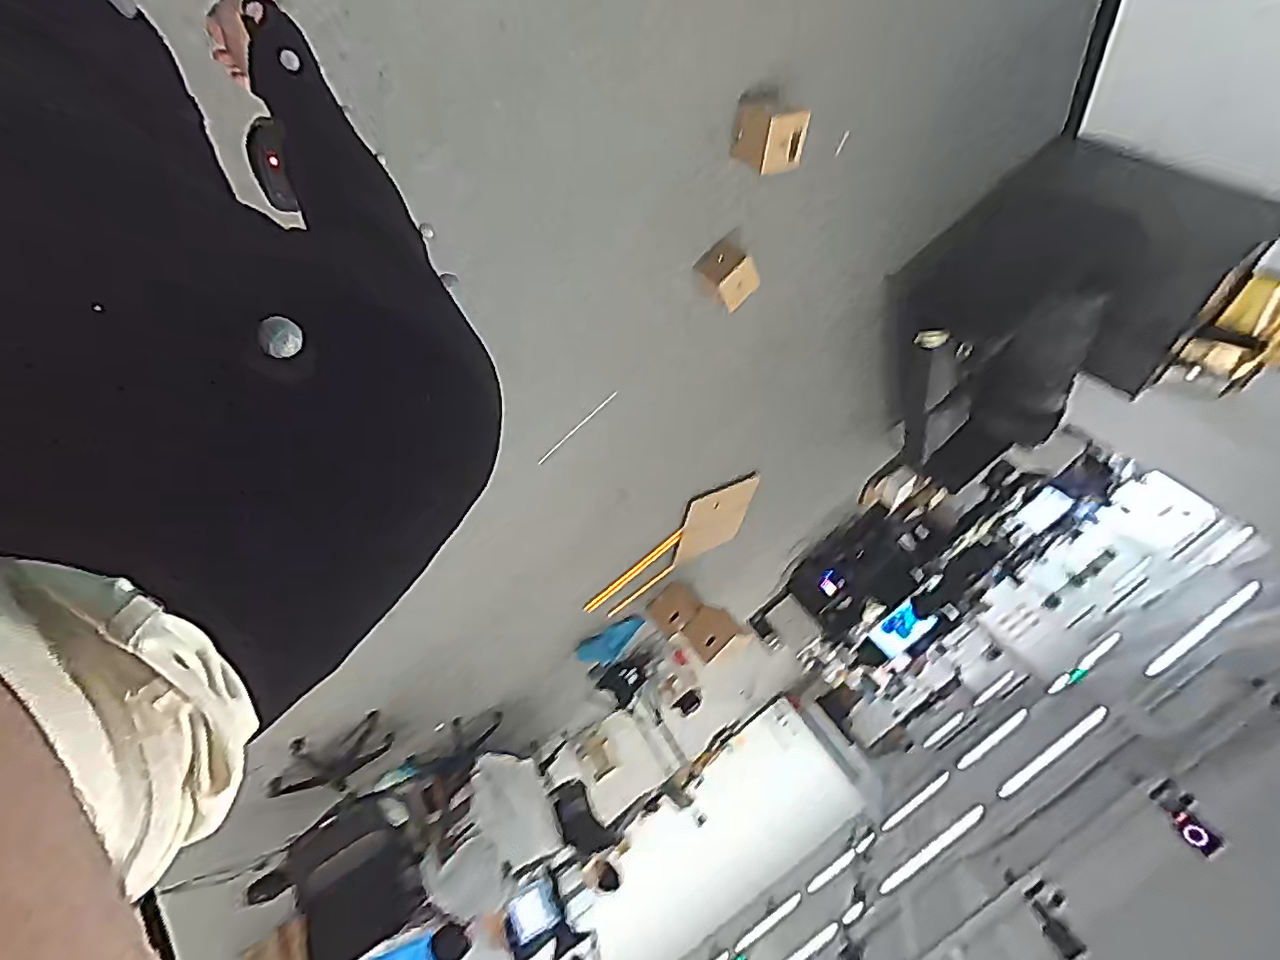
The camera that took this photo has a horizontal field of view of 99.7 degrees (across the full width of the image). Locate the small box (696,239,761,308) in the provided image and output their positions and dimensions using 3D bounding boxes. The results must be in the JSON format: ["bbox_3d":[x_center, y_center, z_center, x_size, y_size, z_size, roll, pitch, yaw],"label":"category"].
[{"bbox_3d":[0.348,-0.828,2.148,0.168,0.176,0.179,-43,148,6],"label":"small box"}]
